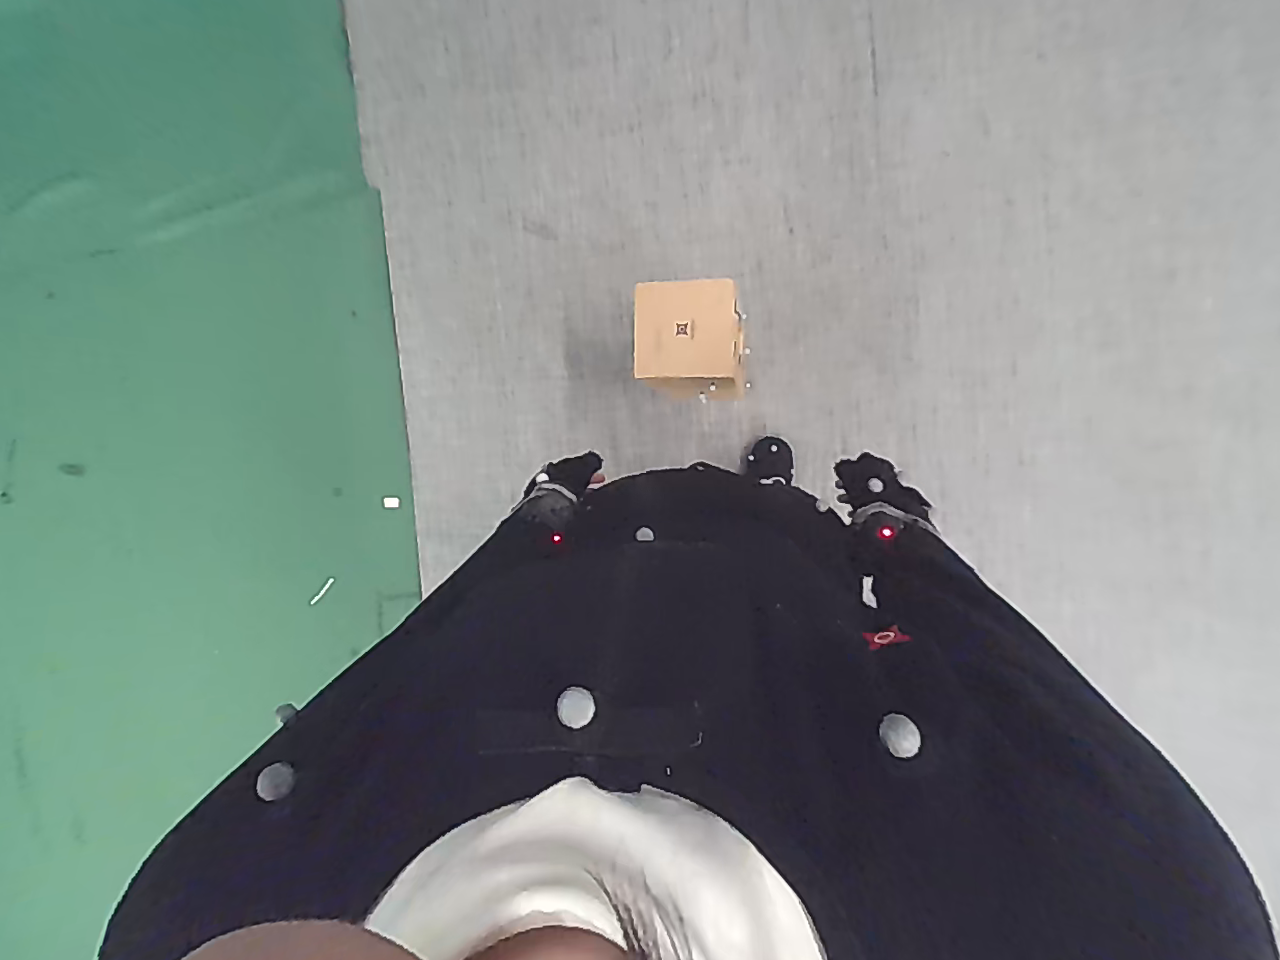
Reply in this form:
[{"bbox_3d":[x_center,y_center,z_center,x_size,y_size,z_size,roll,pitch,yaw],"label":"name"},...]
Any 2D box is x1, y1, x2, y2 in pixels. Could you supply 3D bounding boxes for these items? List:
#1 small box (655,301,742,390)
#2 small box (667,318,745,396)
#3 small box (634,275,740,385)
[{"bbox_3d":[0.130,-0.282,1.158,0.179,0.176,0.168,-1,95,13],"label":"small box"},{"bbox_3d":[0.165,-0.295,1.315,0.179,0.176,0.168,1,94,13],"label":"small box"},{"bbox_3d":[0.093,-0.268,0.998,0.179,0.176,0.168,1,93,14],"label":"small box"}]
